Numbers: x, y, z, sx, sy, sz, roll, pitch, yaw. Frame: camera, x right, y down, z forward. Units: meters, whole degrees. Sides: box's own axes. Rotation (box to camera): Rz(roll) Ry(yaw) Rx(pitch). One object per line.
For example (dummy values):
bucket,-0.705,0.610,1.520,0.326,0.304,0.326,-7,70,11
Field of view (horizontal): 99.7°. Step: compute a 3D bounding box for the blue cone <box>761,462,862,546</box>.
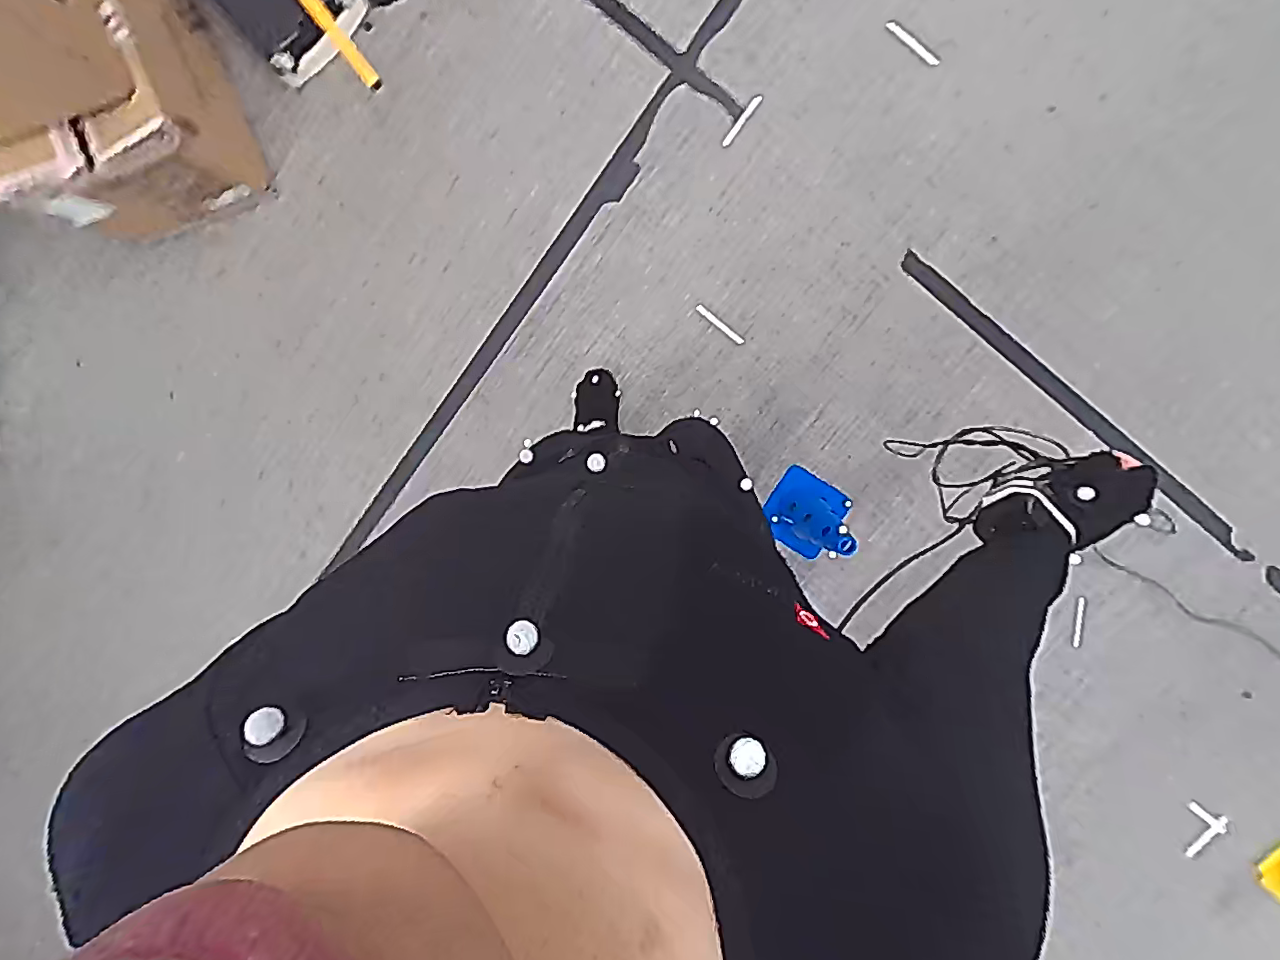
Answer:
blue cone,0.434,0.088,1.279,0.193,0.380,0.192,33,97,-2
